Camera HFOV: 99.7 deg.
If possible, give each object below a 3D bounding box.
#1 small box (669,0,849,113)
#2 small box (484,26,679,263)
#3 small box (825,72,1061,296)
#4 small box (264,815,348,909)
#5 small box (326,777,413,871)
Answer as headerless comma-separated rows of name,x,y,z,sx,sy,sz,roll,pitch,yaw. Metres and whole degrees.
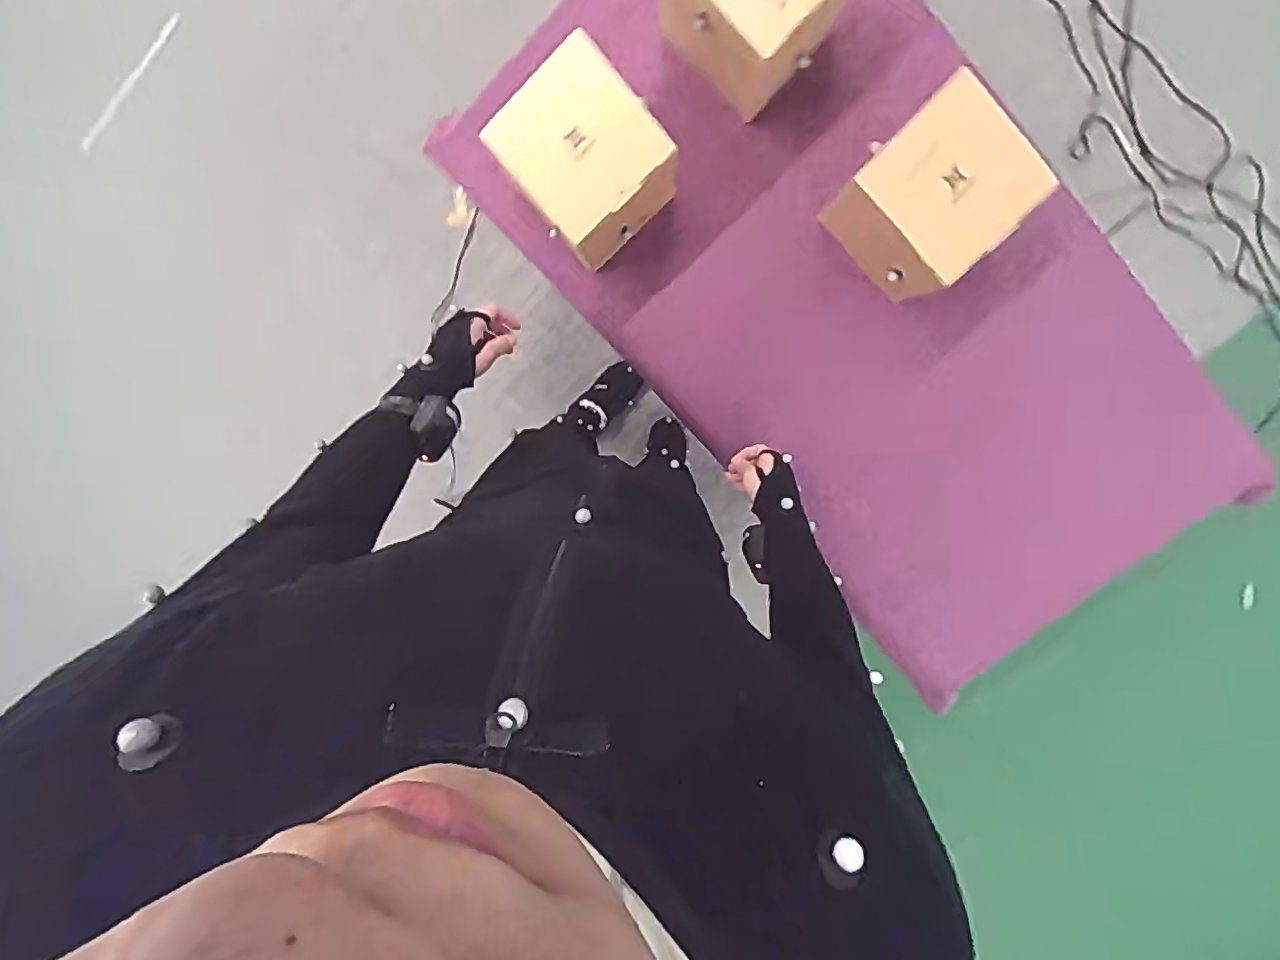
small box,0.147,-0.607,0.664,0.179,0.176,0.168,45,101,-7
small box,-0.068,-0.419,0.714,0.168,0.176,0.179,-41,98,8
small box,0.376,-0.361,0.706,0.168,0.176,0.179,-43,96,10
small box,-1.133,1.315,1.872,0.168,0.176,0.179,-37,98,9
small box,-0.898,1.152,1.824,0.179,0.176,0.168,-39,97,10
